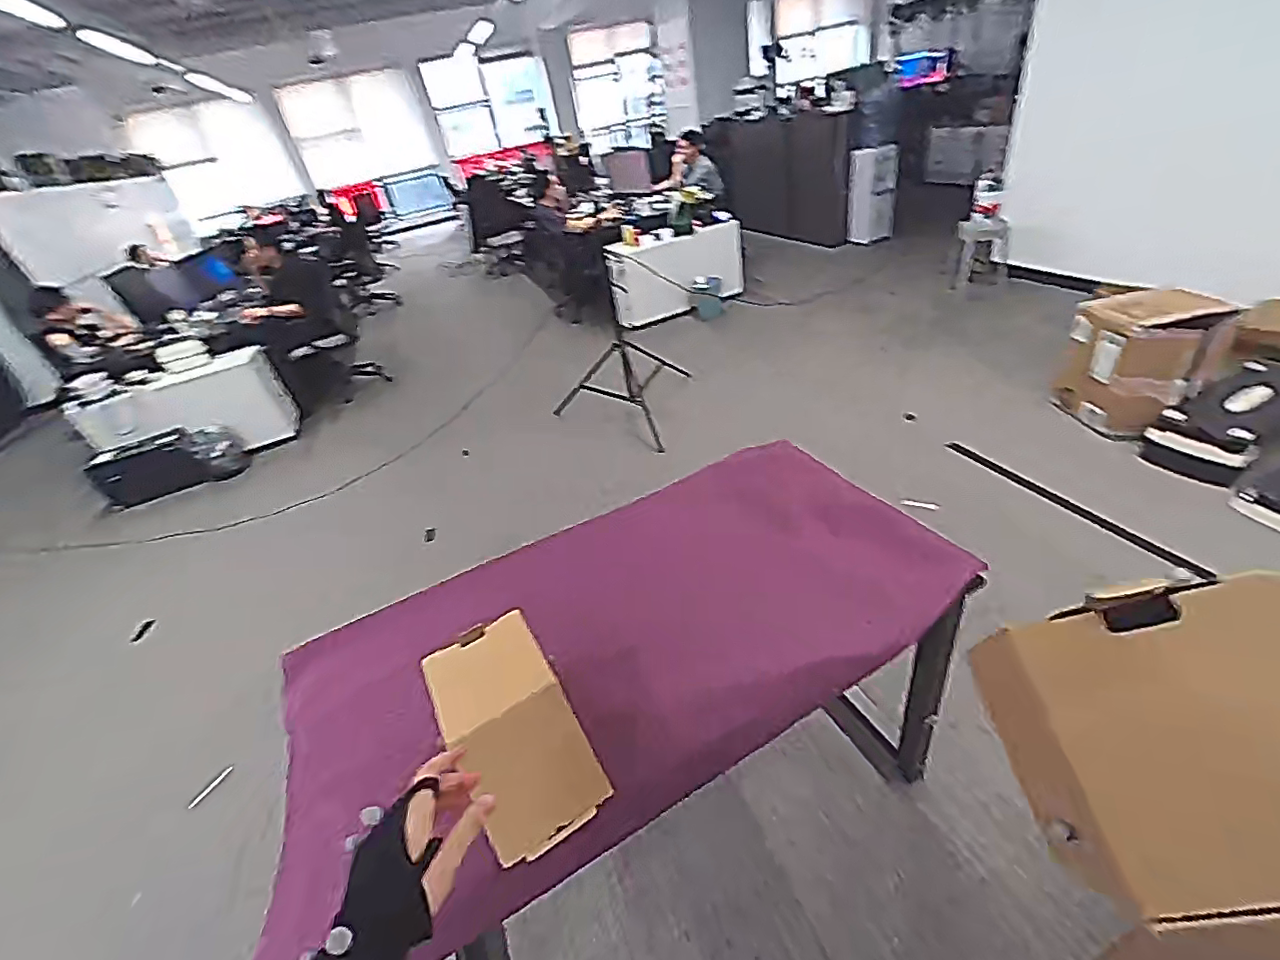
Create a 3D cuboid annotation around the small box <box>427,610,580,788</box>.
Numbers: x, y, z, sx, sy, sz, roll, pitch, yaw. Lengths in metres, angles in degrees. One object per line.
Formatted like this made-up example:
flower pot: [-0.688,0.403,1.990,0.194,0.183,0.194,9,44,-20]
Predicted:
small box: [-0.212,0.350,0.857,0.168,0.176,0.179,-25,35,-19]
